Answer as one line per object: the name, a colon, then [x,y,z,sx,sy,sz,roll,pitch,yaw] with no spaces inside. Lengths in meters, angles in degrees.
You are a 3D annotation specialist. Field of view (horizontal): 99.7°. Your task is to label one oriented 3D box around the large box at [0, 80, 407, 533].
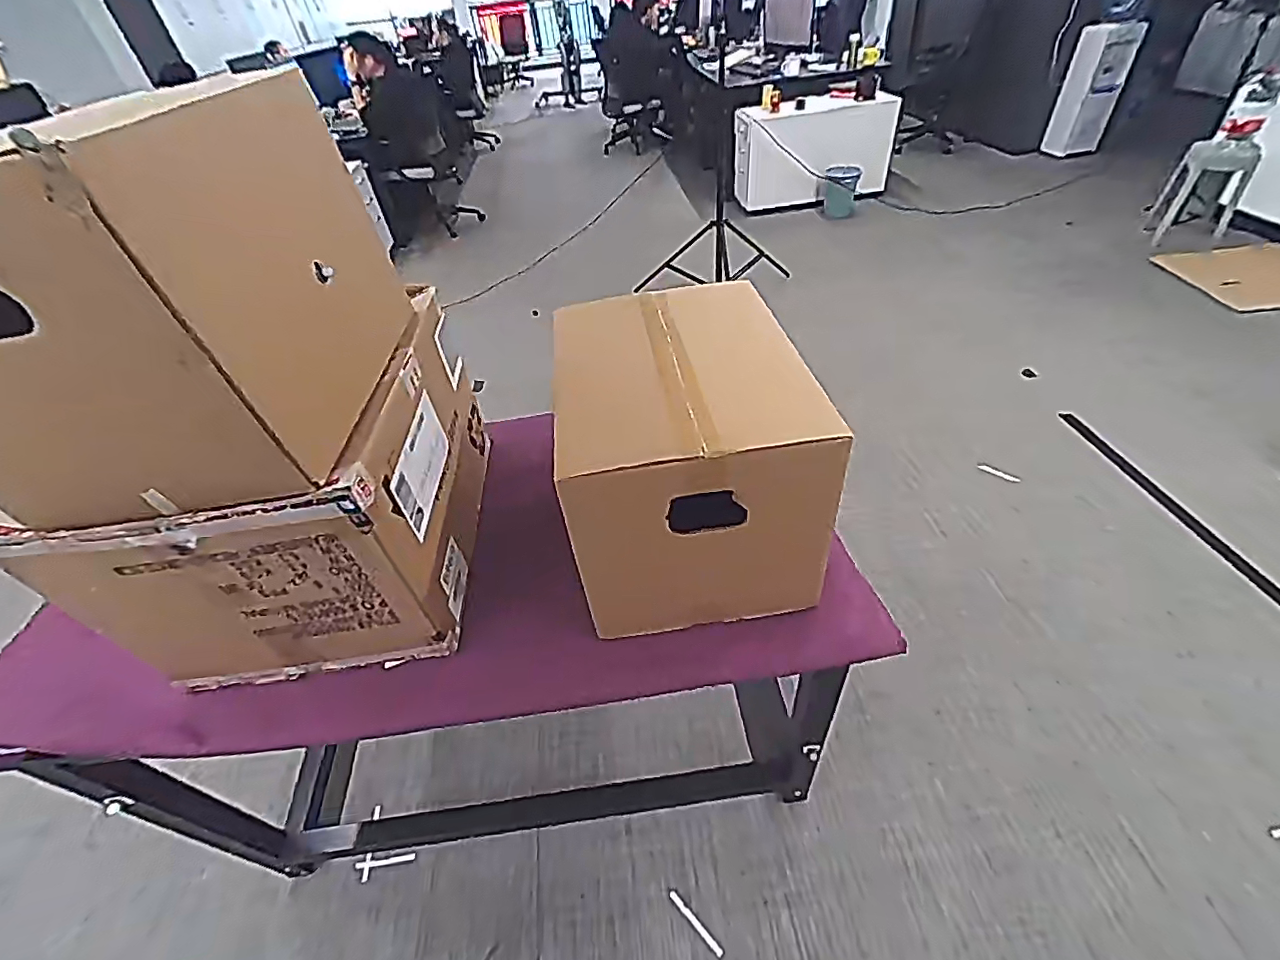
large box: [-0.507,-0.206,0.605,0.320,0.320,0.408,-11,43,3]
